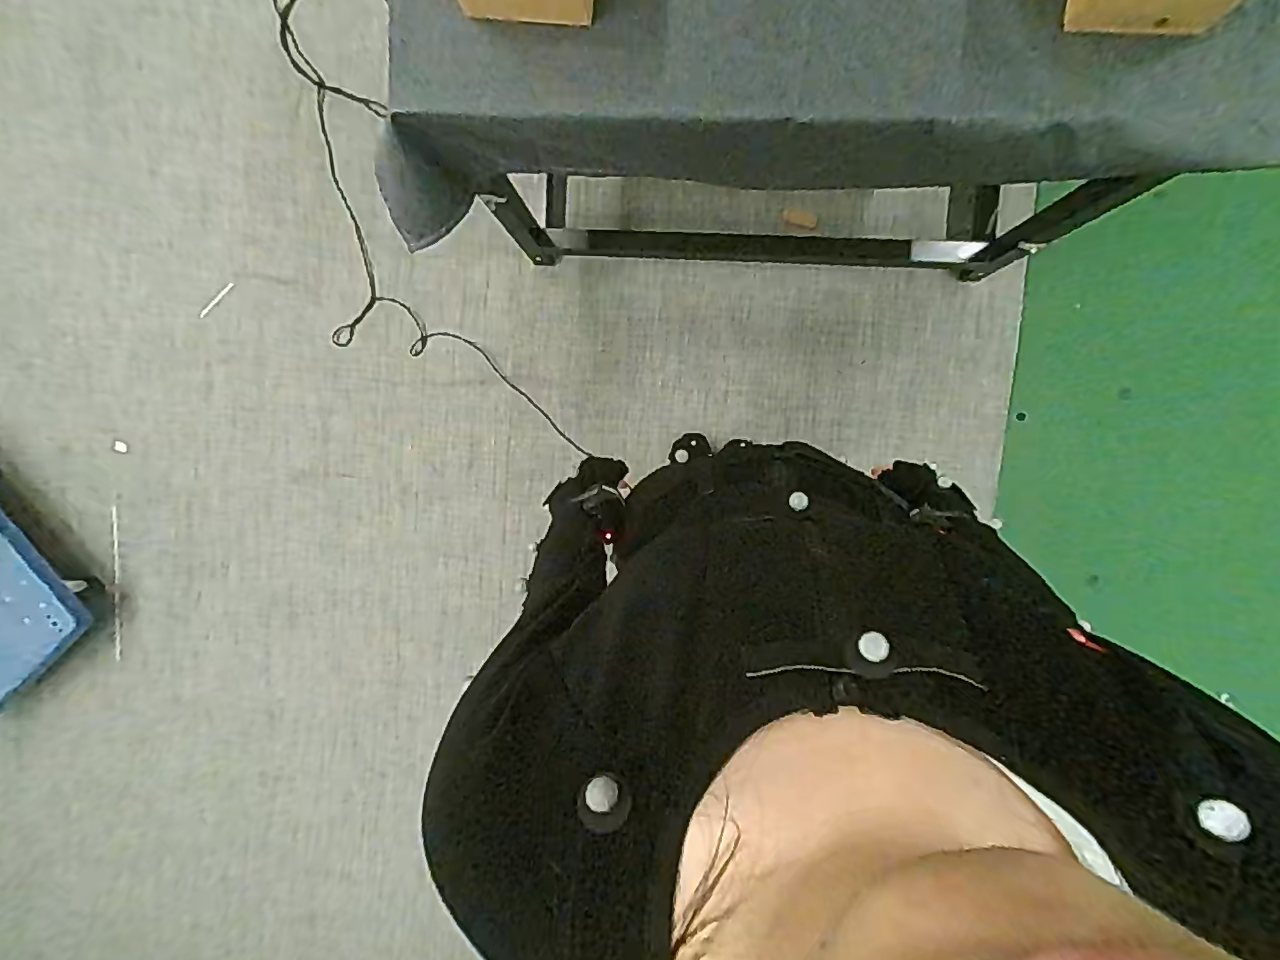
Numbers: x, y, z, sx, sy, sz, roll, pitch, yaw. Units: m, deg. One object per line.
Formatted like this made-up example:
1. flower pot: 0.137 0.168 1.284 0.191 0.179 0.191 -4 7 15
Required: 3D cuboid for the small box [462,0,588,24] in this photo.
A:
1. small box: -0.147 -0.695 0.647 0.179 0.176 0.168 7 94 3
